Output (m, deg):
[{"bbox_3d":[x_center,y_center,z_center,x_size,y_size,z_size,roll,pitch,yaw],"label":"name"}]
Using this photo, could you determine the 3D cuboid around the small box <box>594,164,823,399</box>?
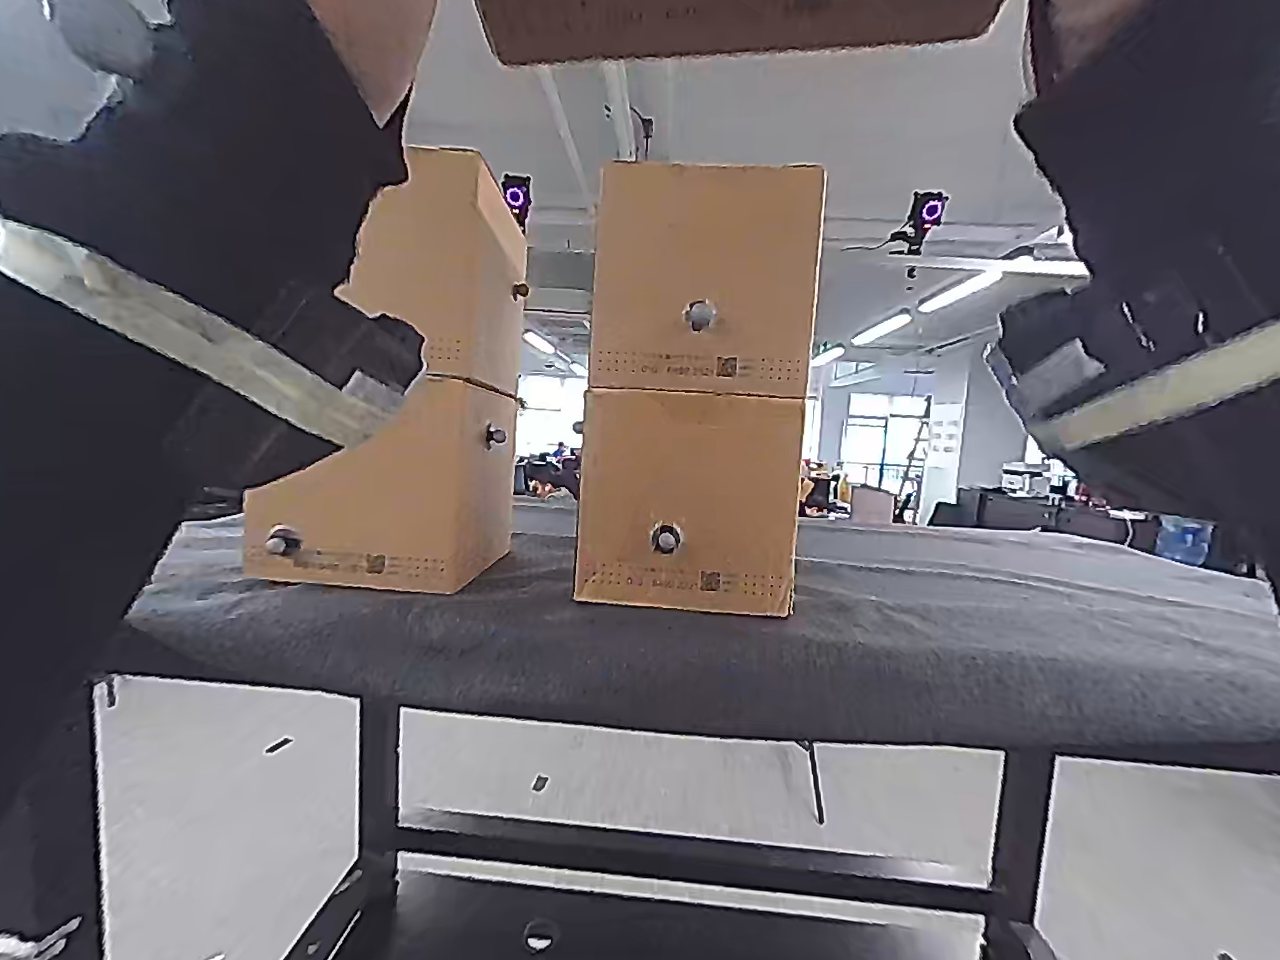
[{"bbox_3d":[0.054,-0.150,0.482,0.168,0.176,0.179,3,4,5],"label":"small box"}]

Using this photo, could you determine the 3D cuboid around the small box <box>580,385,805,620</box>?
[{"bbox_3d":[0.040,0.014,0.488,0.168,0.176,0.179,3,4,3],"label":"small box"}]

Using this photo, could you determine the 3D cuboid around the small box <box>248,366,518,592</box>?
[{"bbox_3d":[-0.215,-0.002,0.492,0.168,0.176,0.179,5,3,0],"label":"small box"}]
